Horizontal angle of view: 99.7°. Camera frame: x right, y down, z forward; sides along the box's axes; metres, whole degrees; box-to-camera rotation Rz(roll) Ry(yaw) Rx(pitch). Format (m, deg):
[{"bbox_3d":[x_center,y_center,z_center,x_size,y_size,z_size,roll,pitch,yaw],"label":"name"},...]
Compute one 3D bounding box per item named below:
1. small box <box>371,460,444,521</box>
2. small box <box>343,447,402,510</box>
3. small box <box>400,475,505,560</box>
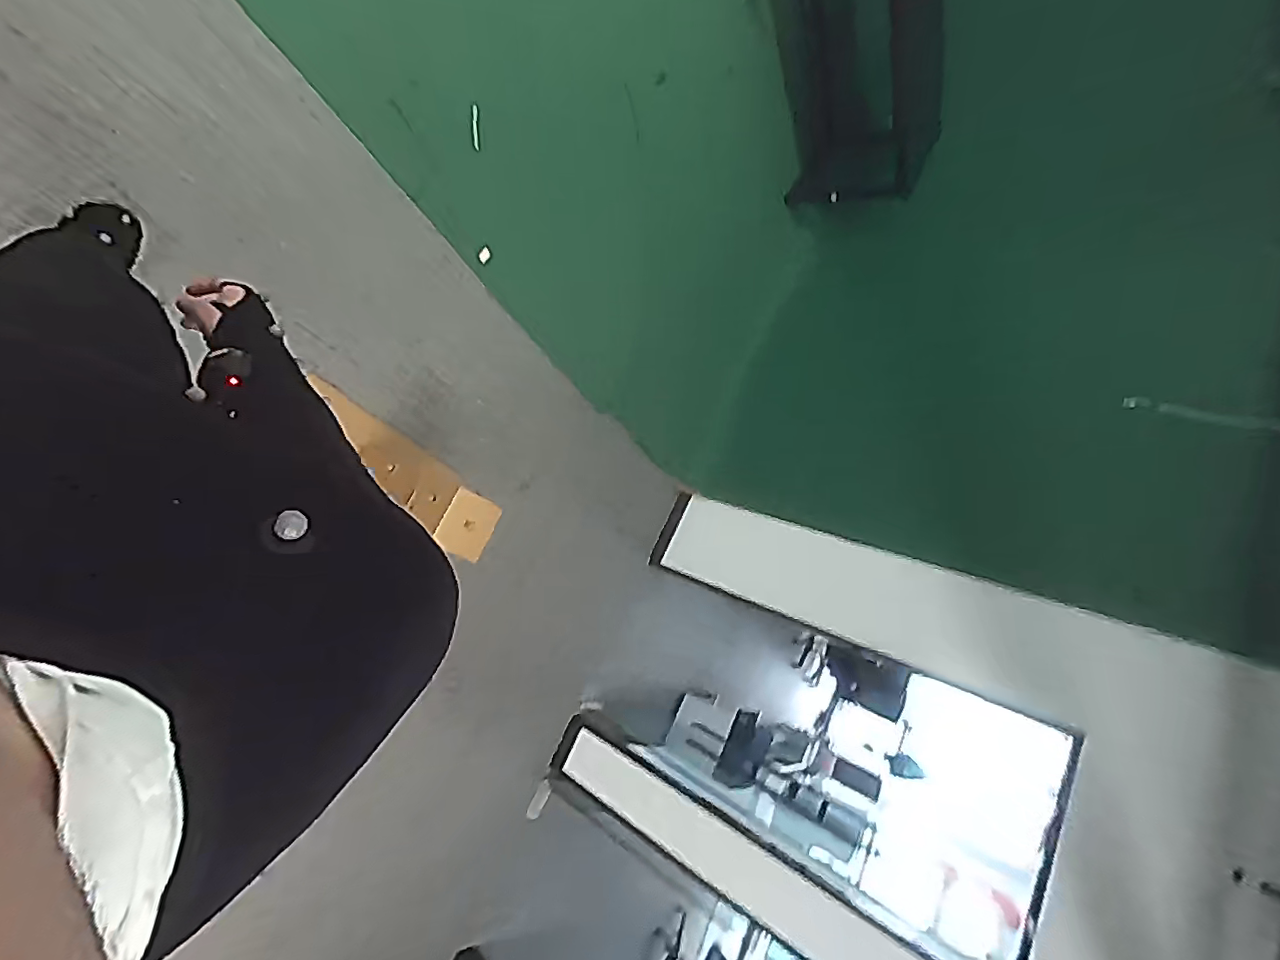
[{"bbox_3d":[-0.643,0.054,1.577,0.179,0.176,0.168,42,70,-53],"label":"small box"},{"bbox_3d":[-0.771,0.014,1.670,0.179,0.176,0.168,36,75,-53],"label":"small box"},{"bbox_3d":[-0.517,0.098,1.485,0.179,0.176,0.168,43,69,-53],"label":"small box"}]
